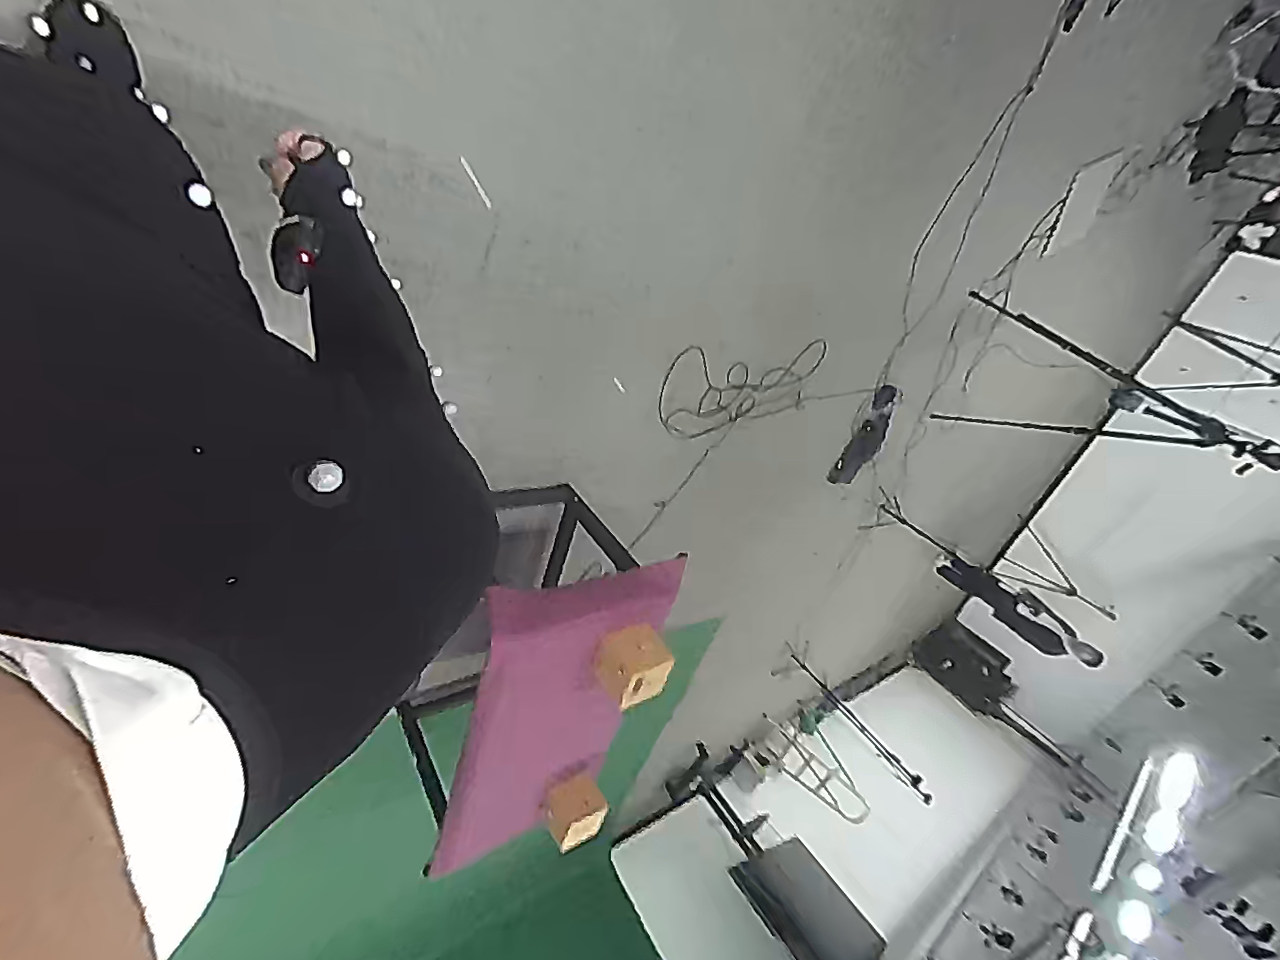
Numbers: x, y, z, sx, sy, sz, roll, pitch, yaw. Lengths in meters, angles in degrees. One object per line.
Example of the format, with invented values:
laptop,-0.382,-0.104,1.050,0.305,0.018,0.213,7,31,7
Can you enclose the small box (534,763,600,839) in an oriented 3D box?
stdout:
small box,-0.292,1.270,2.150,0.179,0.176,0.168,-2,122,-41
